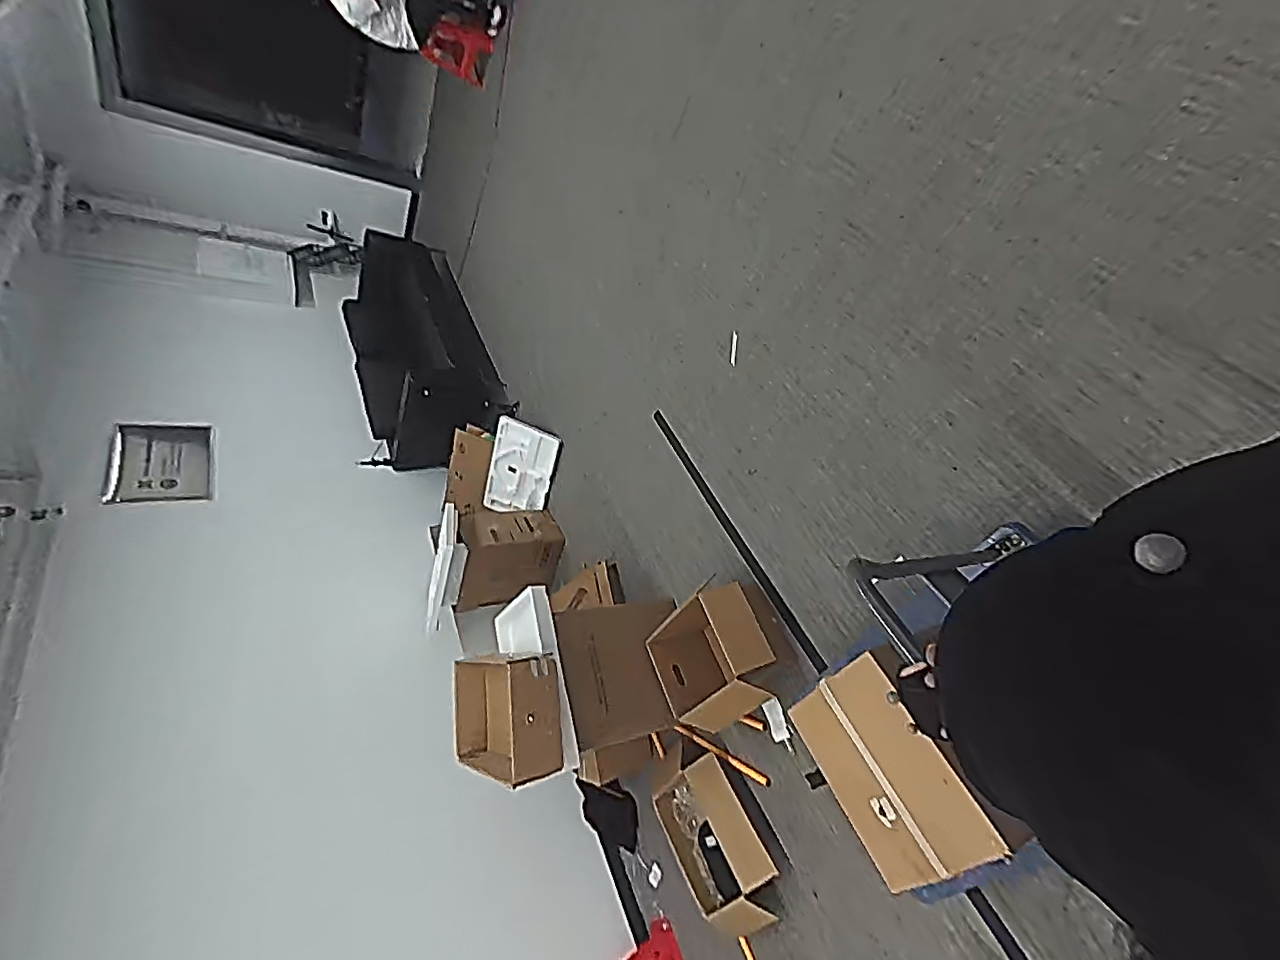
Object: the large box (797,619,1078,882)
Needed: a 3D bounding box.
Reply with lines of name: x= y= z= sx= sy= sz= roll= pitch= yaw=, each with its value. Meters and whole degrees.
large box: x=0.653 y=0.591 z=1.234 sx=0.408 sy=0.320 sz=0.320 roll=60 pitch=137 yaw=33
